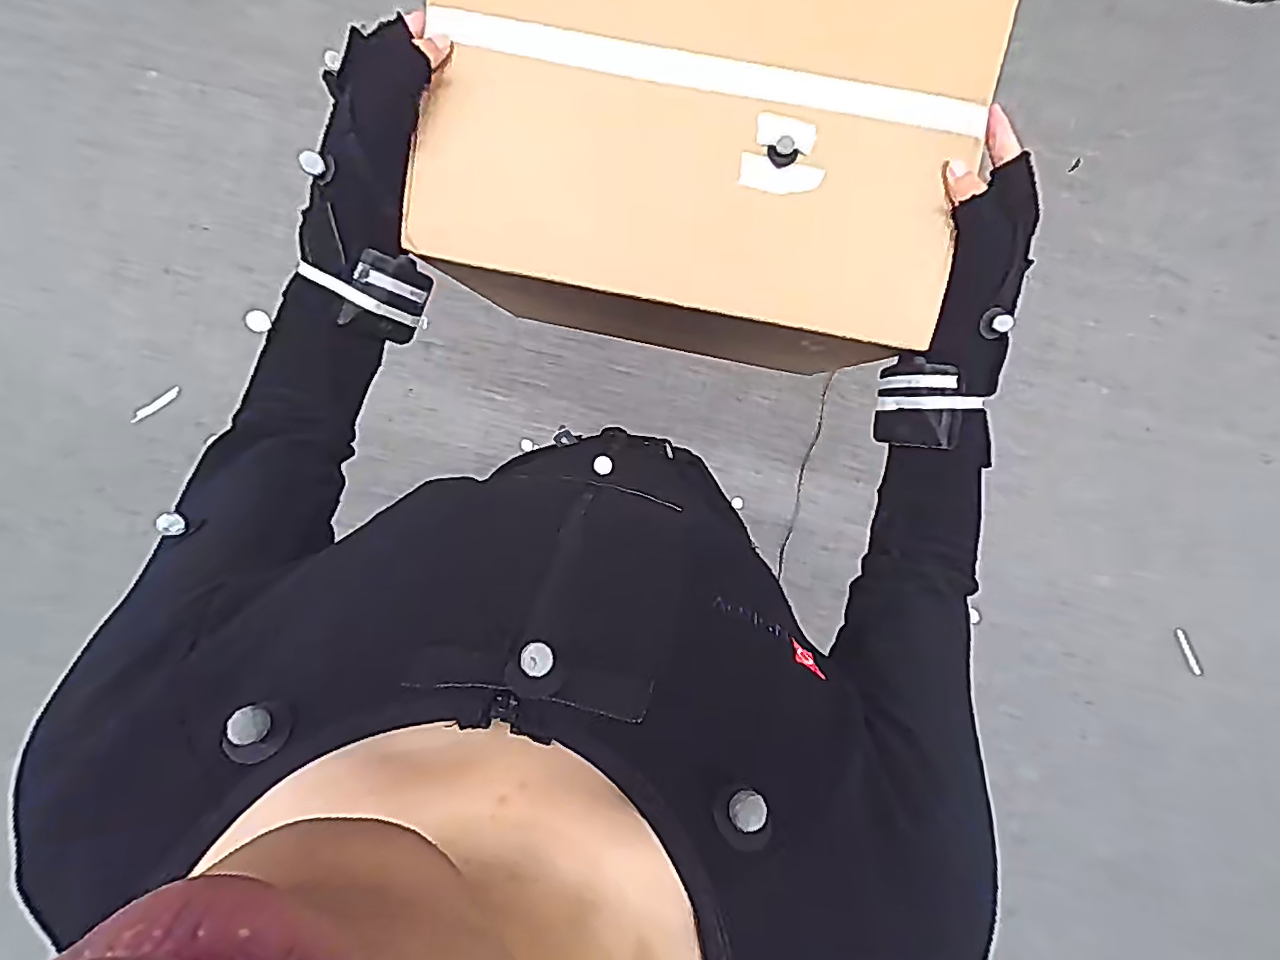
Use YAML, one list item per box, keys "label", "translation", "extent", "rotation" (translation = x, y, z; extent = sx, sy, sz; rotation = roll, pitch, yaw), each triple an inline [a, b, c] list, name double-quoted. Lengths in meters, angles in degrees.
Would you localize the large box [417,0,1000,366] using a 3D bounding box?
- label: "large box"
  translation: [0.050, -0.314, 0.544]
  extent: [0.408, 0.320, 0.320]
  rotation: [11, 98, 1]
